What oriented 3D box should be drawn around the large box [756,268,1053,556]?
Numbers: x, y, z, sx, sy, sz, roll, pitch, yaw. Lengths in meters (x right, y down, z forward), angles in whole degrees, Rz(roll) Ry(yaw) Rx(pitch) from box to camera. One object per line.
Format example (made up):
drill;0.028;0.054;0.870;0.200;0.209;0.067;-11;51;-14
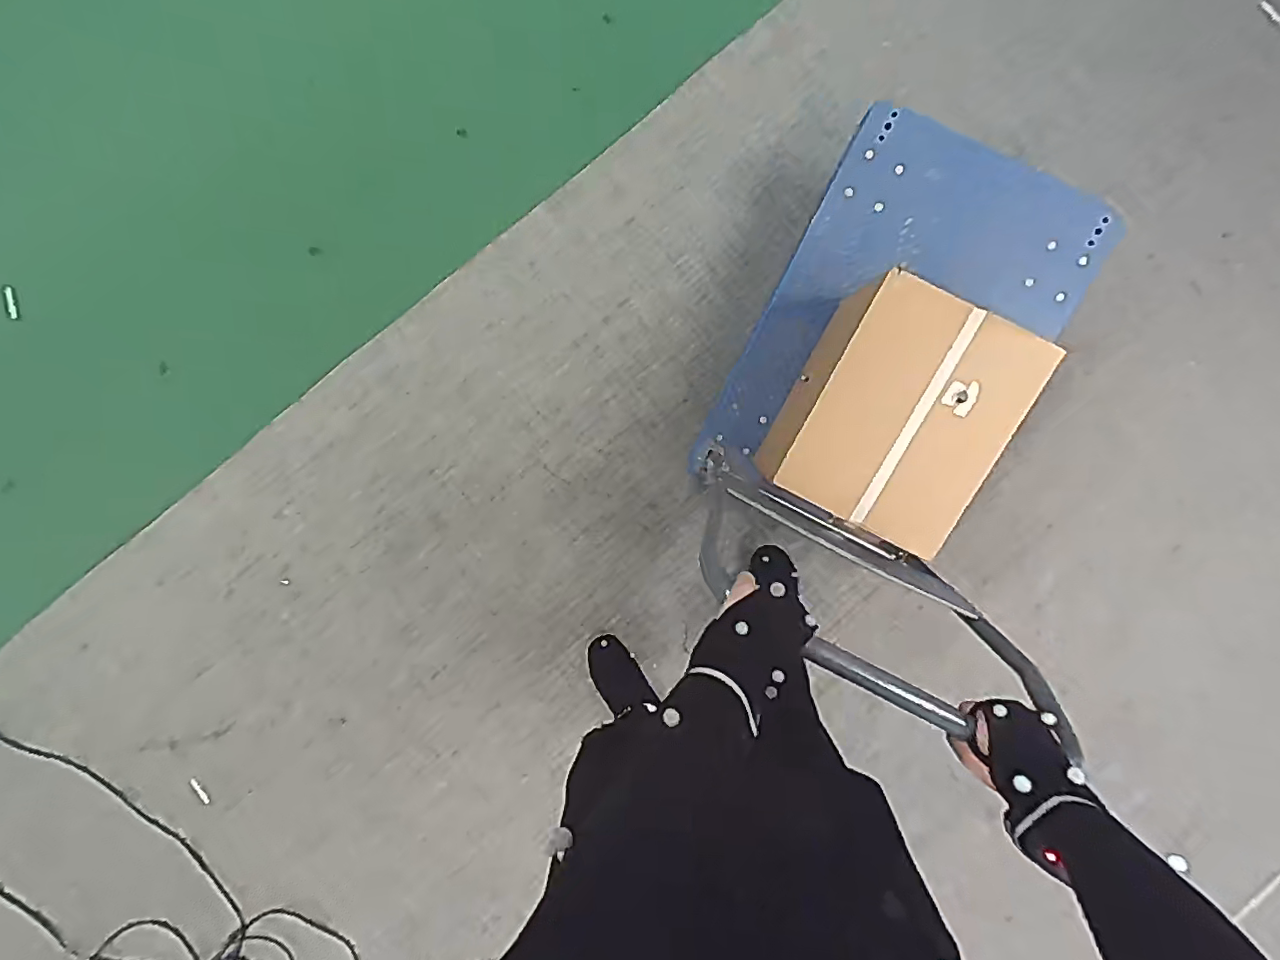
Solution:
large box;0.464;-0.125;1.057;0.320;0.320;0.408;27;100;1
